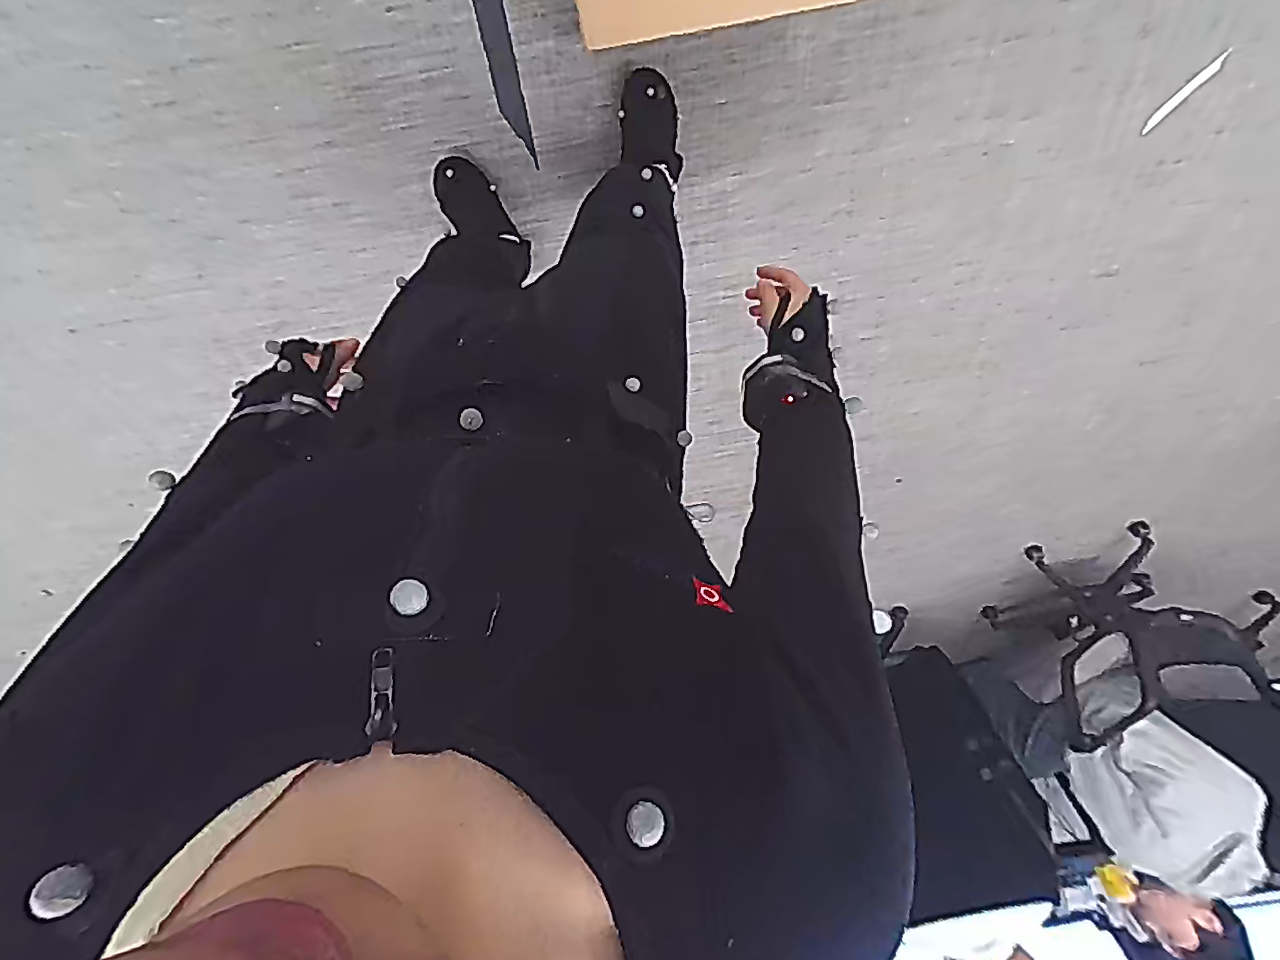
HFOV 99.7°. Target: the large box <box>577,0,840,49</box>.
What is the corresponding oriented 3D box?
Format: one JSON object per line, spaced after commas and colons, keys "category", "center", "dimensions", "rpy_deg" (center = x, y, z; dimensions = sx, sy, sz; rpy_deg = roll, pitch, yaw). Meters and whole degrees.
{"category": "large box", "center": [0.089, -0.816, 0.726], "dimensions": [0.408, 0.320, 0.320], "rpy_deg": [-10, 132, 1]}
